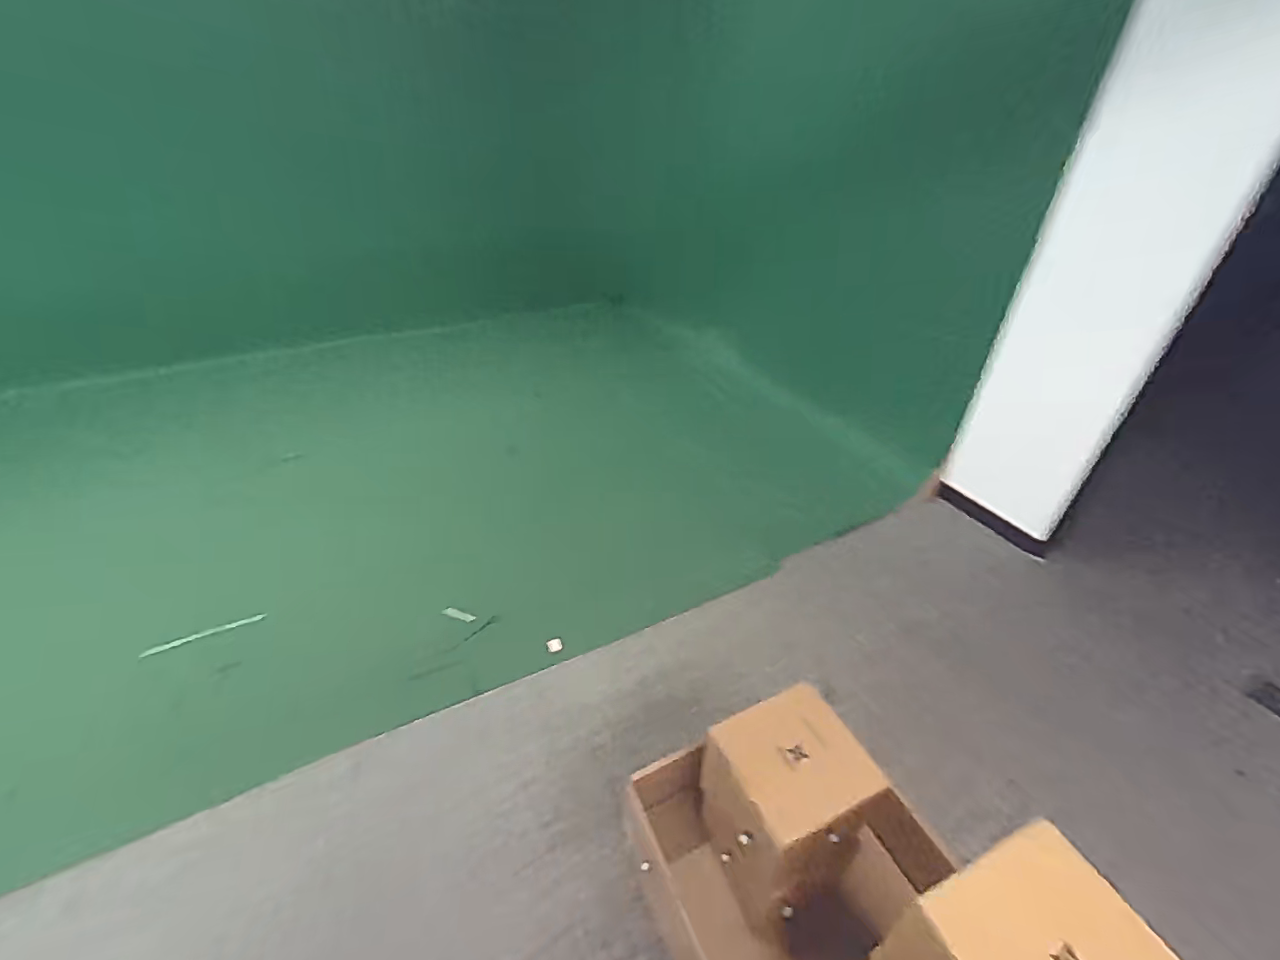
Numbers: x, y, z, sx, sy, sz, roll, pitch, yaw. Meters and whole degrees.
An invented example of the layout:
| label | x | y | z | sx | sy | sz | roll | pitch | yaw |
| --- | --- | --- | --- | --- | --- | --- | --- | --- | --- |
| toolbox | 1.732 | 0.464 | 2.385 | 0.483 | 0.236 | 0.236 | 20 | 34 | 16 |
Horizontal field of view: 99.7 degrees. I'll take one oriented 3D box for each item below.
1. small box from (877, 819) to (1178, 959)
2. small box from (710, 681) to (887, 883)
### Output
| label | x | y | z | sx | sy | sz | roll | pitch | yaw |
| --- | --- | --- | --- | --- | --- | --- | --- | --- | --- |
| small box | 0.347 | 0.454 | 0.480 | 0.168 | 0.176 | 0.179 | -14 | 41 | -19 |
| small box | 0.212 | 0.432 | 0.776 | 0.179 | 0.176 | 0.168 | -15 | 40 | -20 |
